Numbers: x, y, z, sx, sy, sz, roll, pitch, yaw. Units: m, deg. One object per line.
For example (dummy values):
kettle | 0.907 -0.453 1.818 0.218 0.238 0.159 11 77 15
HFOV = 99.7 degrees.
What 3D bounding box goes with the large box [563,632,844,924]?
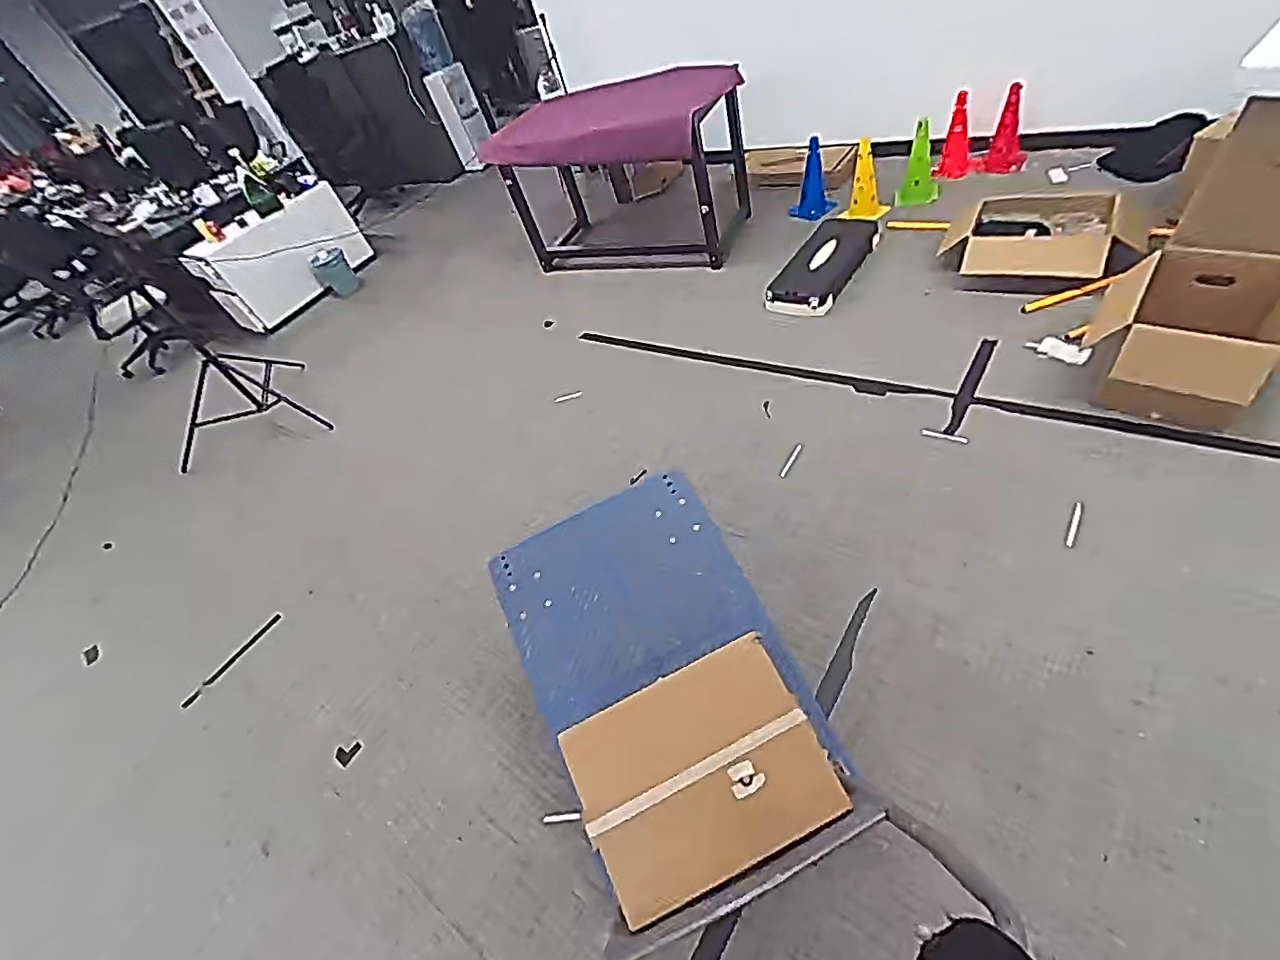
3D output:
large box | 0.114 0.556 1.071 0.408 0.320 0.320 -27 67 -6
